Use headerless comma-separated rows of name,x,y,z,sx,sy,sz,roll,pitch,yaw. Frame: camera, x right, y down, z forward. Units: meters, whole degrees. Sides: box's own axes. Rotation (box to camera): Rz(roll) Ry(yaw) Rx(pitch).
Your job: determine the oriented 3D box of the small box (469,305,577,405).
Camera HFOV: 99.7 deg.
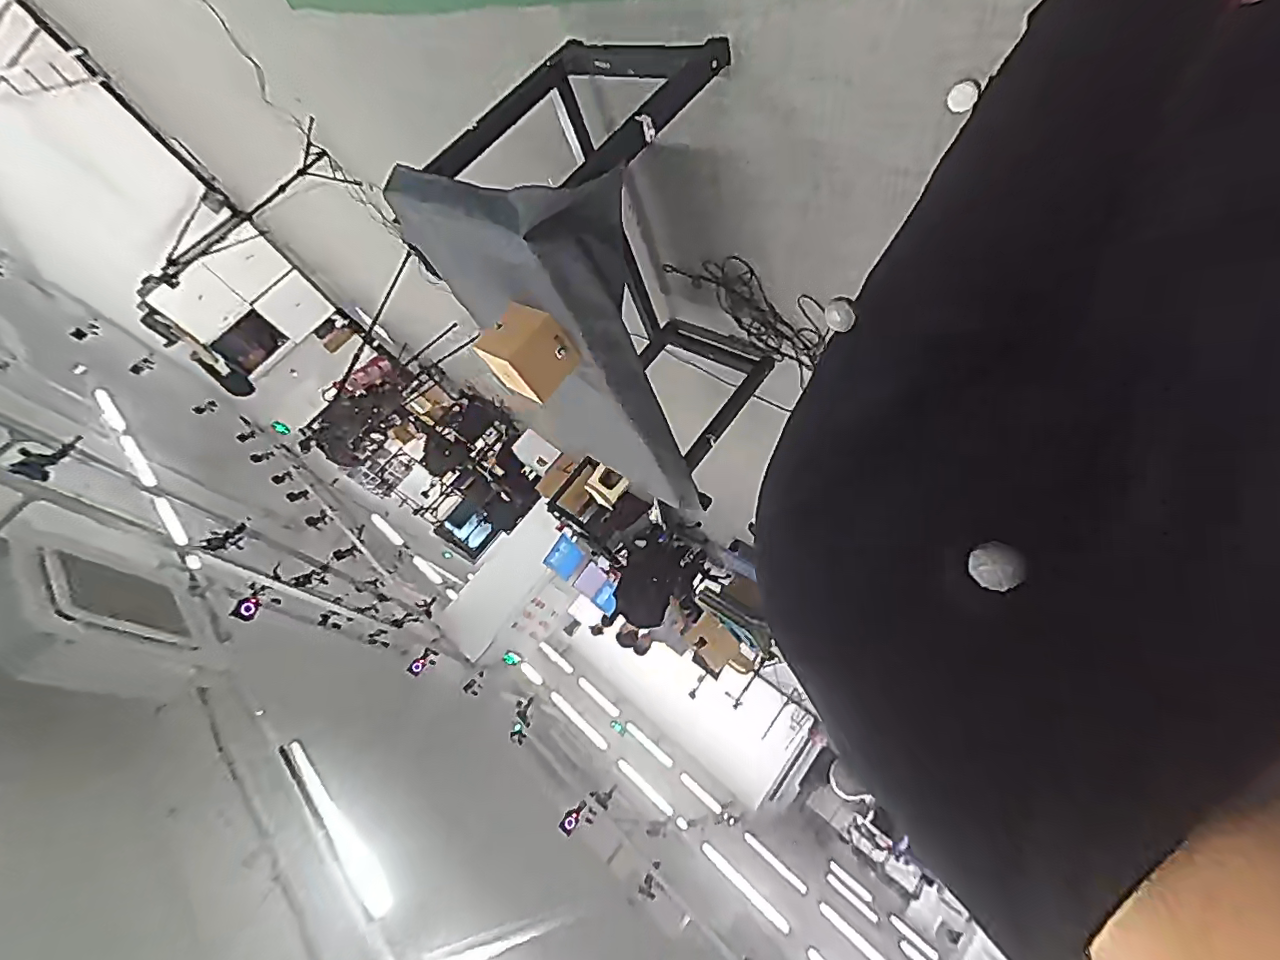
small box,-0.297,-0.329,1.399,0.179,0.176,0.168,27,164,39
